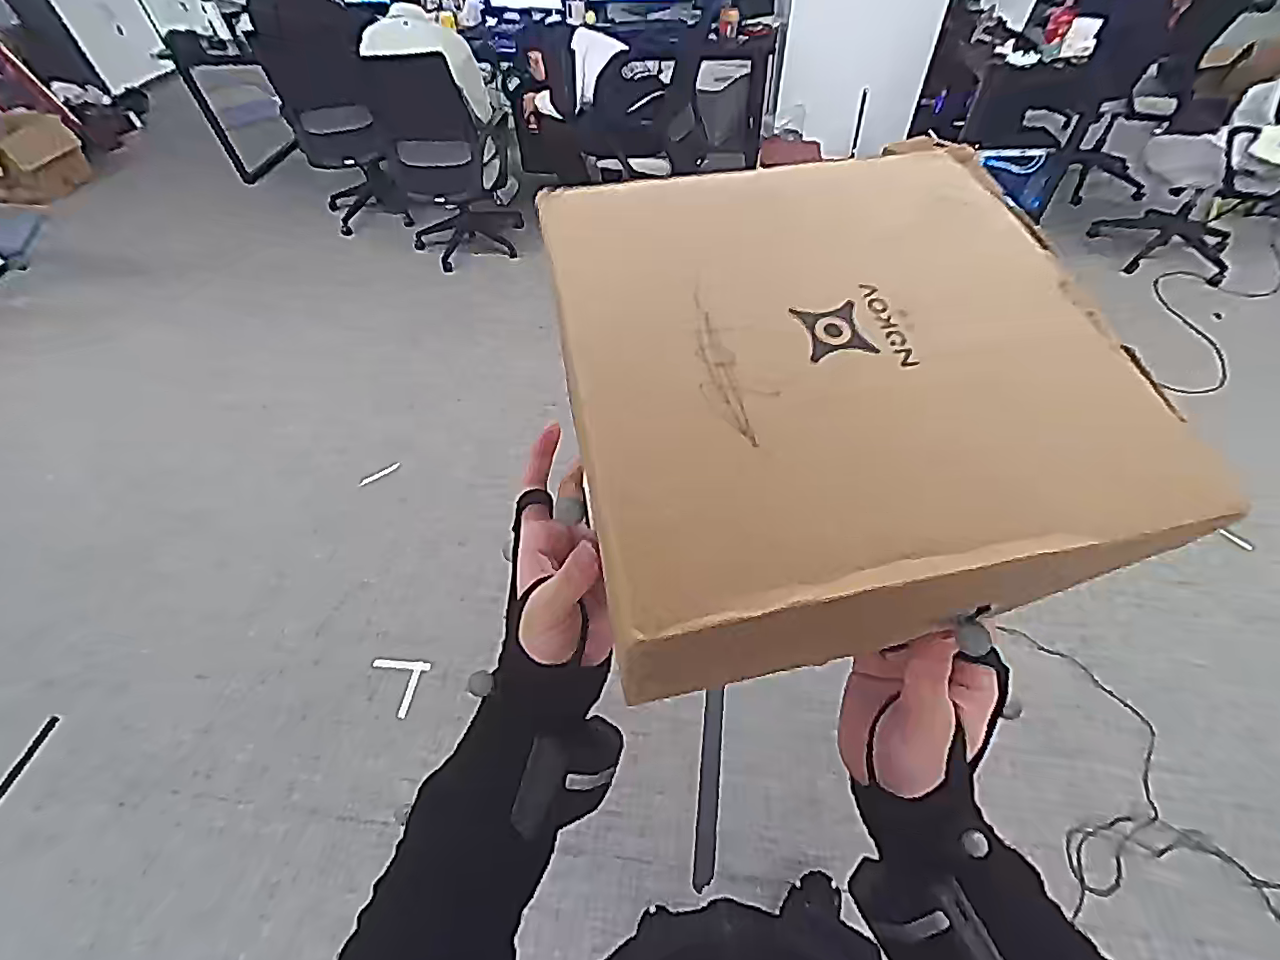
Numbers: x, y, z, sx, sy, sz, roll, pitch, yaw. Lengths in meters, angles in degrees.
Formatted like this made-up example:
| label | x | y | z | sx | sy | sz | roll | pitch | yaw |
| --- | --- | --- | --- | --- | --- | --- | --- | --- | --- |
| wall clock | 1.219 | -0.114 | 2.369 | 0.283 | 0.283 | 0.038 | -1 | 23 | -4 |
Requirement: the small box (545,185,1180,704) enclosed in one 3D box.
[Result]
| label | x | y | z | sx | sy | sz | roll | pitch | yaw |
| --- | --- | --- | --- | --- | --- | --- | --- | --- | --- |
| small box | 0.061 | -0.003 | 0.258 | 0.179 | 0.176 | 0.168 | -11 | 62 | -6 |
